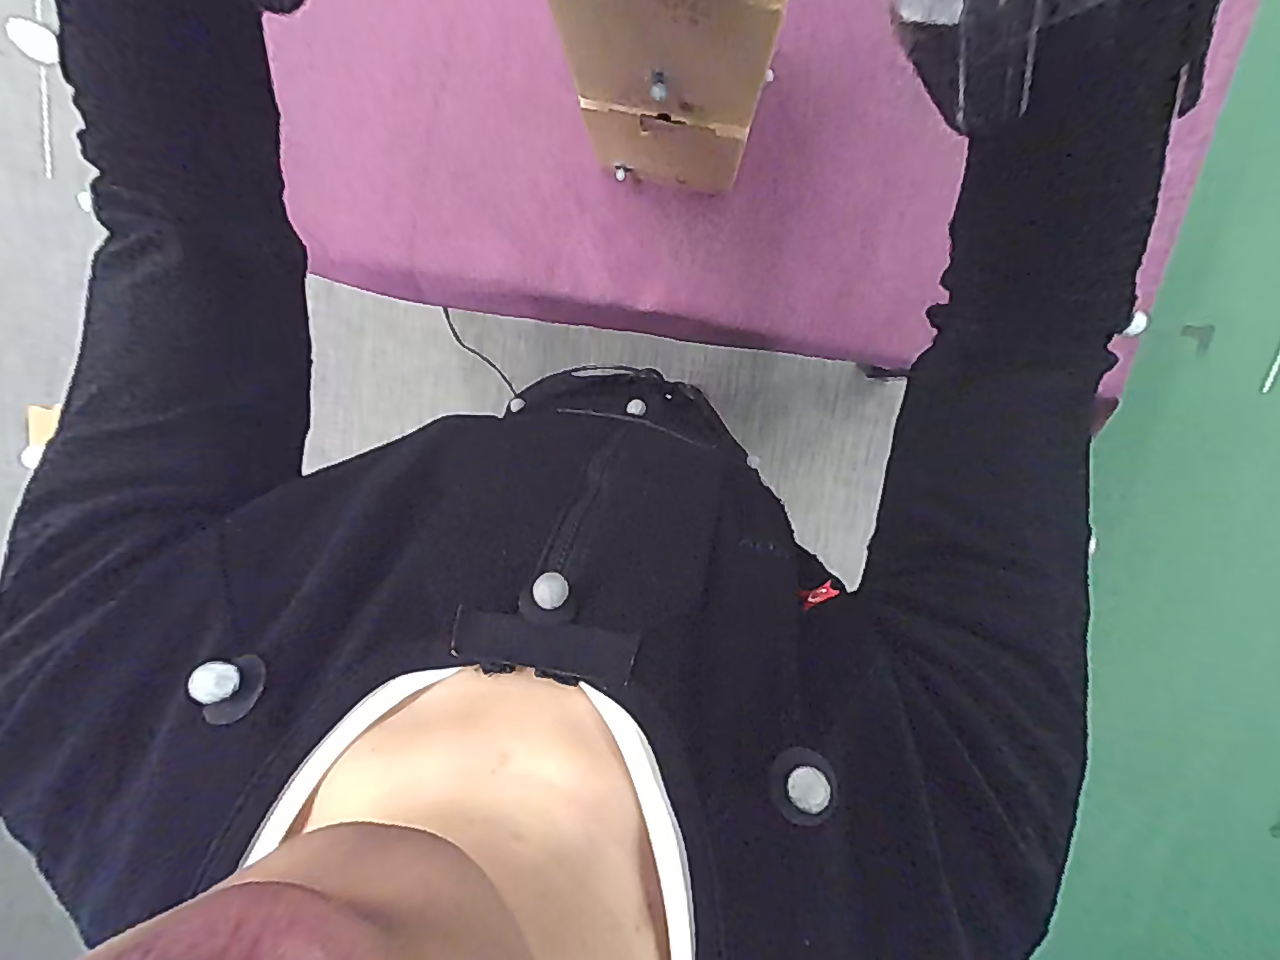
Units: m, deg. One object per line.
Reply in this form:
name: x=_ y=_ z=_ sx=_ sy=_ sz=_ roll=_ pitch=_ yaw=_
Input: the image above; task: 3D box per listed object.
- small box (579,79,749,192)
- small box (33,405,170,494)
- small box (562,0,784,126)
small box: x=0.042 y=-0.436 z=0.579 sx=0.168 sy=0.176 sz=0.179 roll=12 pitch=100 yaw=1
small box: x=-1.268 y=-0.078 z=1.285 sx=0.168 sy=0.176 sz=0.179 roll=8 pitch=100 yaw=1
small box: x=0.034 y=-0.416 z=0.416 sx=0.168 sy=0.176 sz=0.179 roll=11 pitch=101 yaw=2
